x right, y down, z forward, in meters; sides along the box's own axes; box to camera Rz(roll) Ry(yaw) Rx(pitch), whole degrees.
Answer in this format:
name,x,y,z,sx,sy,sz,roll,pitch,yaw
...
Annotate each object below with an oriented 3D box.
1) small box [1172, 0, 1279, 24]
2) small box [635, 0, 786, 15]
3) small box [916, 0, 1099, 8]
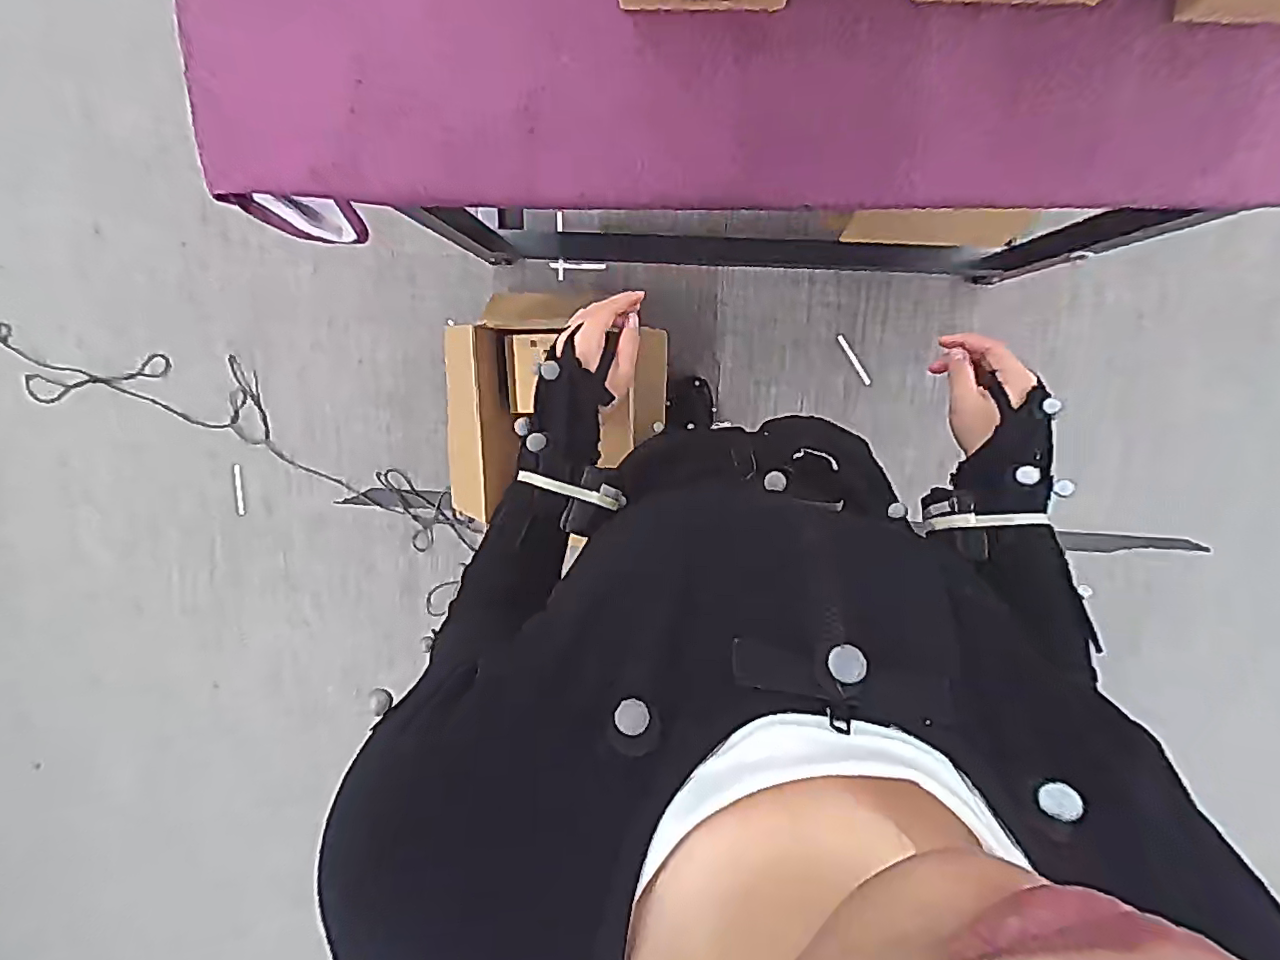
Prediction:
name,x,y,z,sx,sy,sz,roll,pitch,yaw
small box,0.598,-0.504,0.426,0.179,0.176,0.168,4,99,2
small box,0.066,-0.544,0.452,0.168,0.176,0.179,3,102,3
small box,0.354,-0.530,0.434,0.179,0.176,0.168,4,100,3
